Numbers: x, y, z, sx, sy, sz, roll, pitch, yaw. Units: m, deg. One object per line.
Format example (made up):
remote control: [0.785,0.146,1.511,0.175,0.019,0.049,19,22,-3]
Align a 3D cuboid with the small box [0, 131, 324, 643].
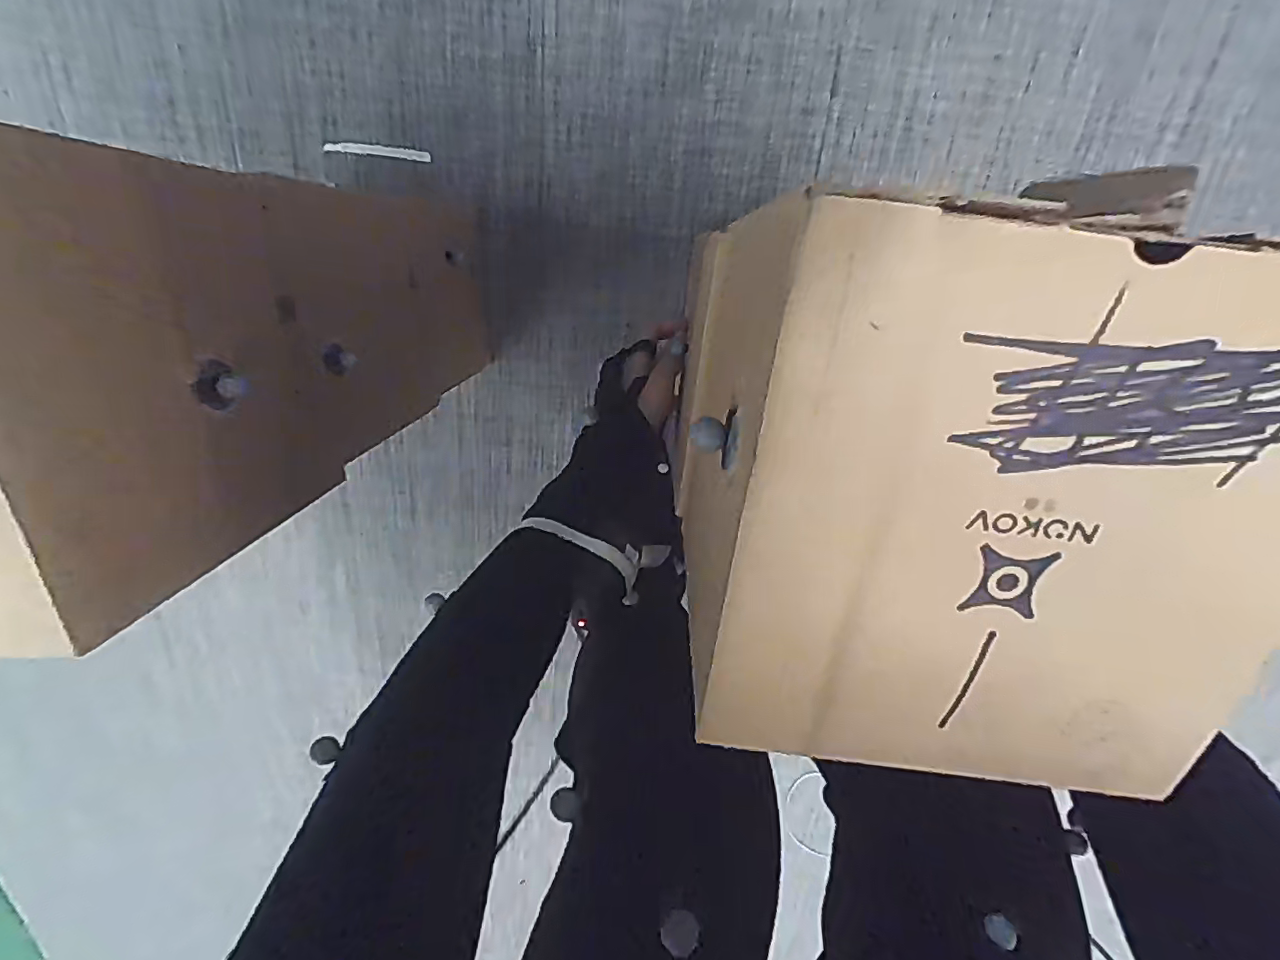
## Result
small box: [-0.270,-0.052,0.236,0.179,0.176,0.168,2,111,3]

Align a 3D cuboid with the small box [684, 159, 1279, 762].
small box: [0.111,-0.017,0.236,0.168,0.176,0.179,6,112,1]

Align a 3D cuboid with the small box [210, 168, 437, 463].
small box: [-0.272,-0.118,0.389,0.179,0.176,0.168,1,112,2]
